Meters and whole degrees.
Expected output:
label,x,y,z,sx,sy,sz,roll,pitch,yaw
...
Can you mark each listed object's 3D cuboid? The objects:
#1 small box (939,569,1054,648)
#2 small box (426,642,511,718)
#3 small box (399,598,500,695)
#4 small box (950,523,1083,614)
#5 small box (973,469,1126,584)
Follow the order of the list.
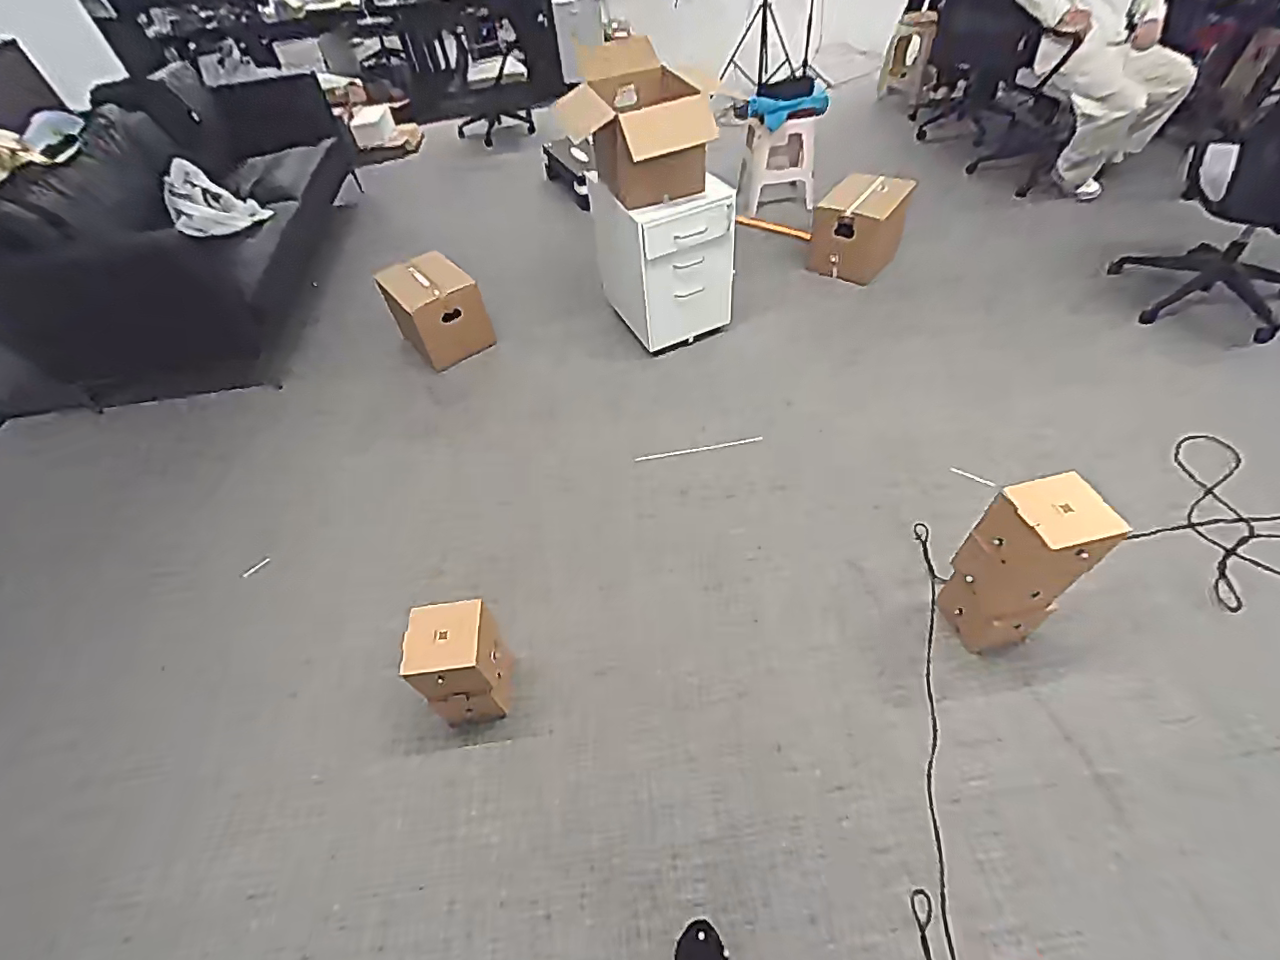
label,x,y,z,sx,sy,sz,roll,pitch,yaw
small box,0.921,0.320,1.424,0.179,0.176,0.168,-15,51,-6
small box,-0.447,0.520,1.438,0.168,0.176,0.179,-8,50,0
small box,-0.455,0.409,1.318,0.179,0.176,0.168,-8,51,0
small box,0.898,0.203,1.310,0.179,0.176,0.168,-13,49,-2
small box,0.878,0.105,1.182,0.179,0.176,0.168,-14,50,-3
